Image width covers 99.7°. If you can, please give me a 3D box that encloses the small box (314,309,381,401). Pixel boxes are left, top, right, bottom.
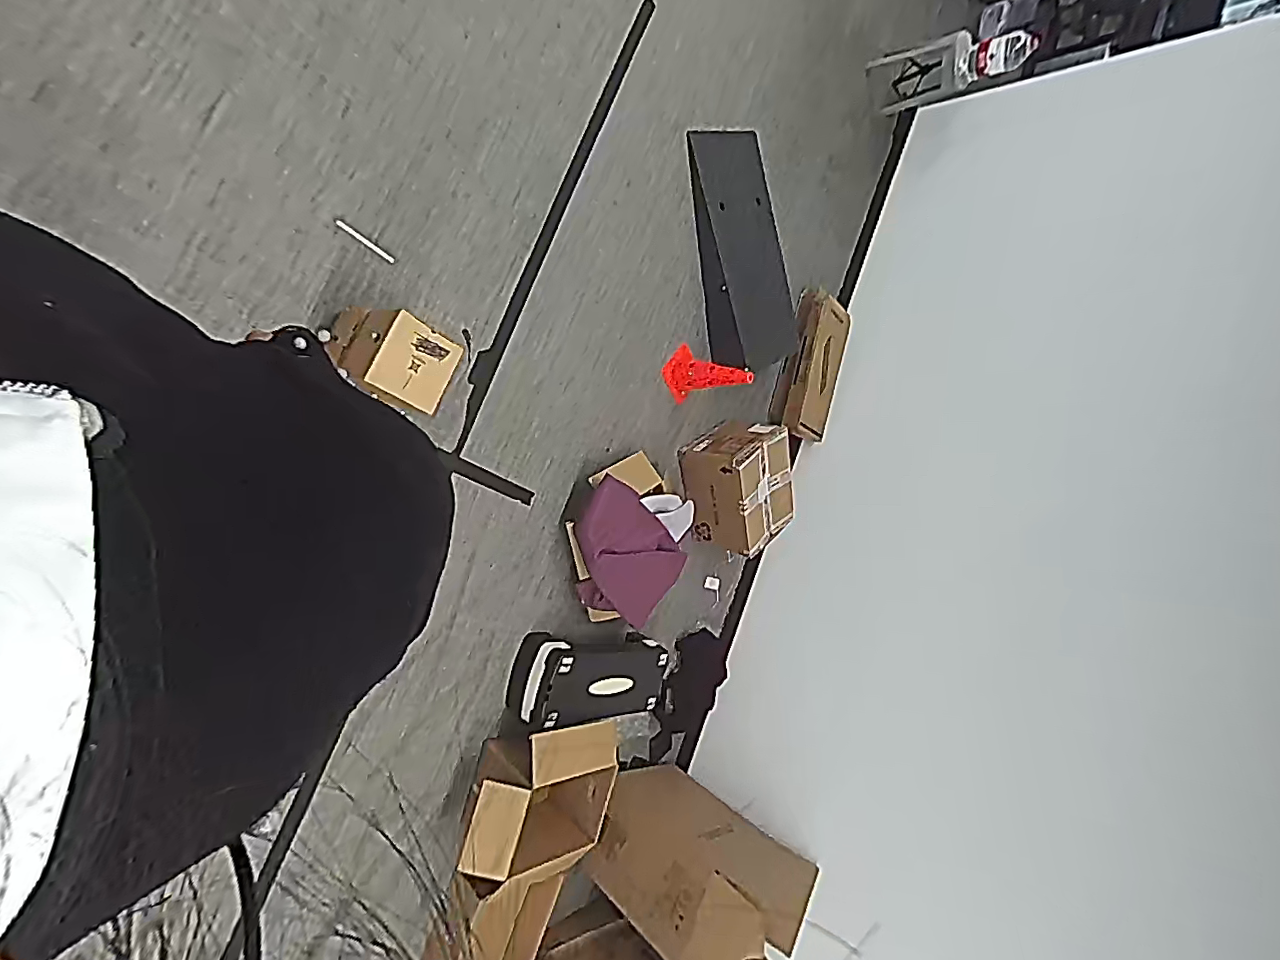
[{"bbox_3d":[-0.670,-0.301,1.344,0.179,0.176,0.168,33,76,-46],"label":"small box"}]

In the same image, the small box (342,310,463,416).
[{"bbox_3d":[-0.547,-0.267,1.238,0.168,0.176,0.179,33,76,-47],"label":"small box"}]
